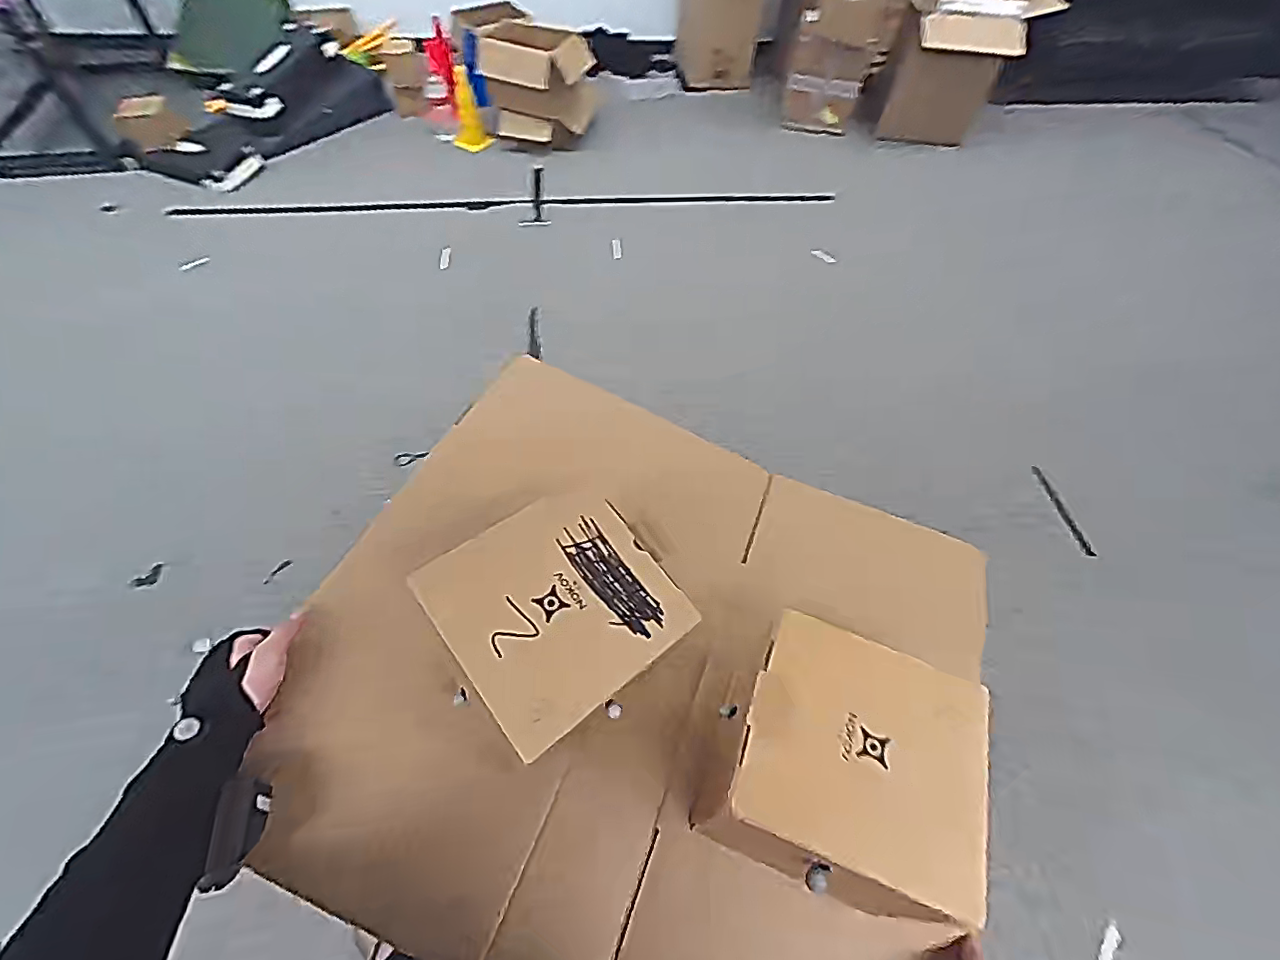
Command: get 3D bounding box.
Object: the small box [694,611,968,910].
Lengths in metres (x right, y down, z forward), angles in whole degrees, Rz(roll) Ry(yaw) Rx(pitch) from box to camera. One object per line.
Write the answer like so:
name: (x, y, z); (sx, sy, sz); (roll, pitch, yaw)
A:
small box: (0.162, 0.250, 0.490); (0.179, 0.176, 0.168); (19, 54, 9)
